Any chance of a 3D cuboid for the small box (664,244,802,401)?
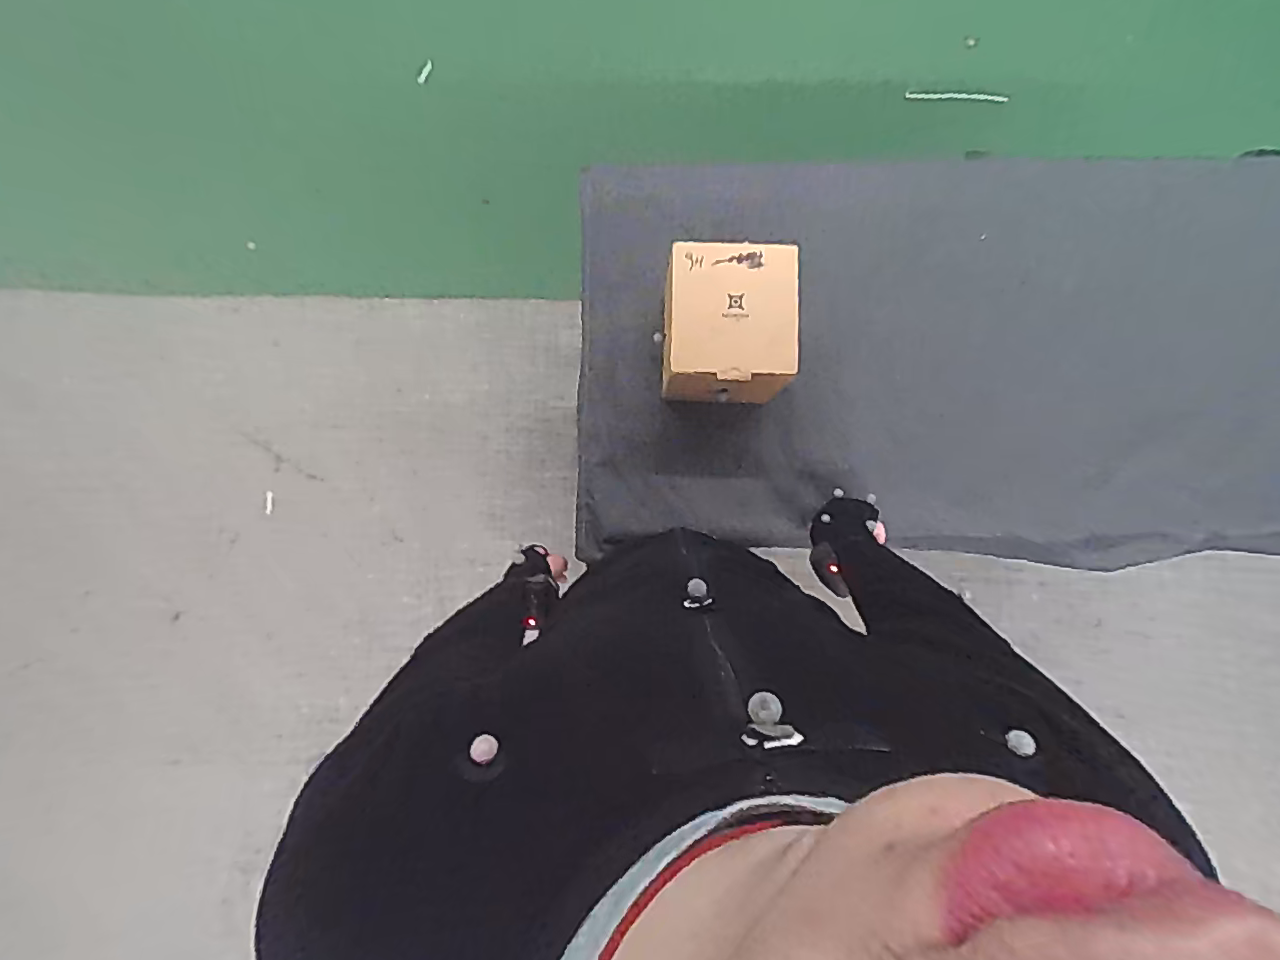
[{"bbox_3d":[0.124,-0.214,0.779,0.168,0.176,0.179,2,87,-1],"label":"small box"}]
